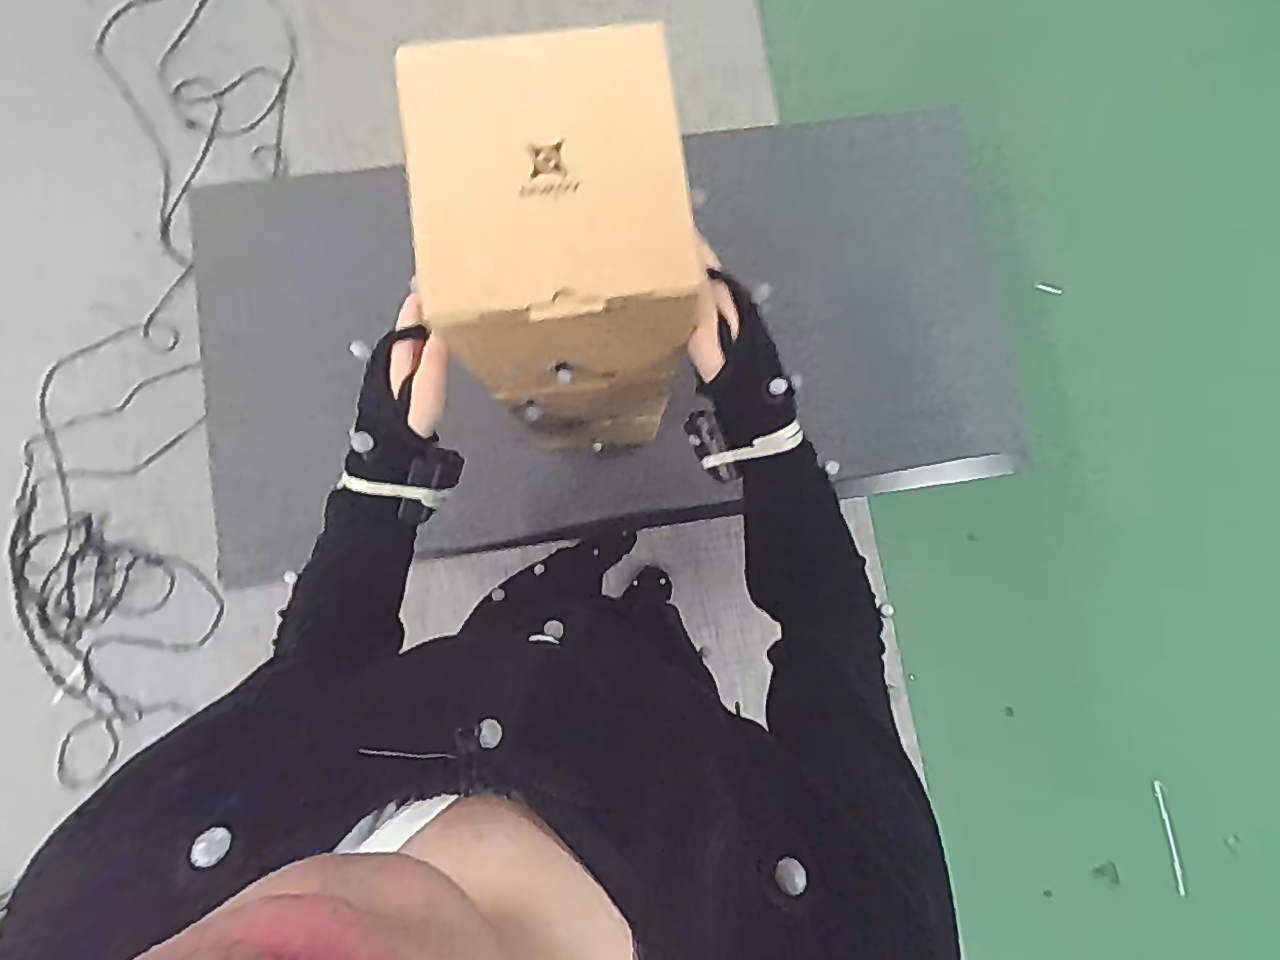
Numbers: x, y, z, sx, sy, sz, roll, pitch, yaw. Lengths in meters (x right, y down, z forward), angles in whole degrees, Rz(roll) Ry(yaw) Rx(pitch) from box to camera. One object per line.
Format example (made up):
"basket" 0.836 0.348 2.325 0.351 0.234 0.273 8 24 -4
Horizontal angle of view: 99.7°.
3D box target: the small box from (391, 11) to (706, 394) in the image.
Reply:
"small box" -0.058 -0.177 0.390 0.168 0.176 0.179 -8 84 -3

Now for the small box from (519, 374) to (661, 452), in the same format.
"small box" -0.066 -0.140 0.714 0.168 0.176 0.179 -4 84 -2
